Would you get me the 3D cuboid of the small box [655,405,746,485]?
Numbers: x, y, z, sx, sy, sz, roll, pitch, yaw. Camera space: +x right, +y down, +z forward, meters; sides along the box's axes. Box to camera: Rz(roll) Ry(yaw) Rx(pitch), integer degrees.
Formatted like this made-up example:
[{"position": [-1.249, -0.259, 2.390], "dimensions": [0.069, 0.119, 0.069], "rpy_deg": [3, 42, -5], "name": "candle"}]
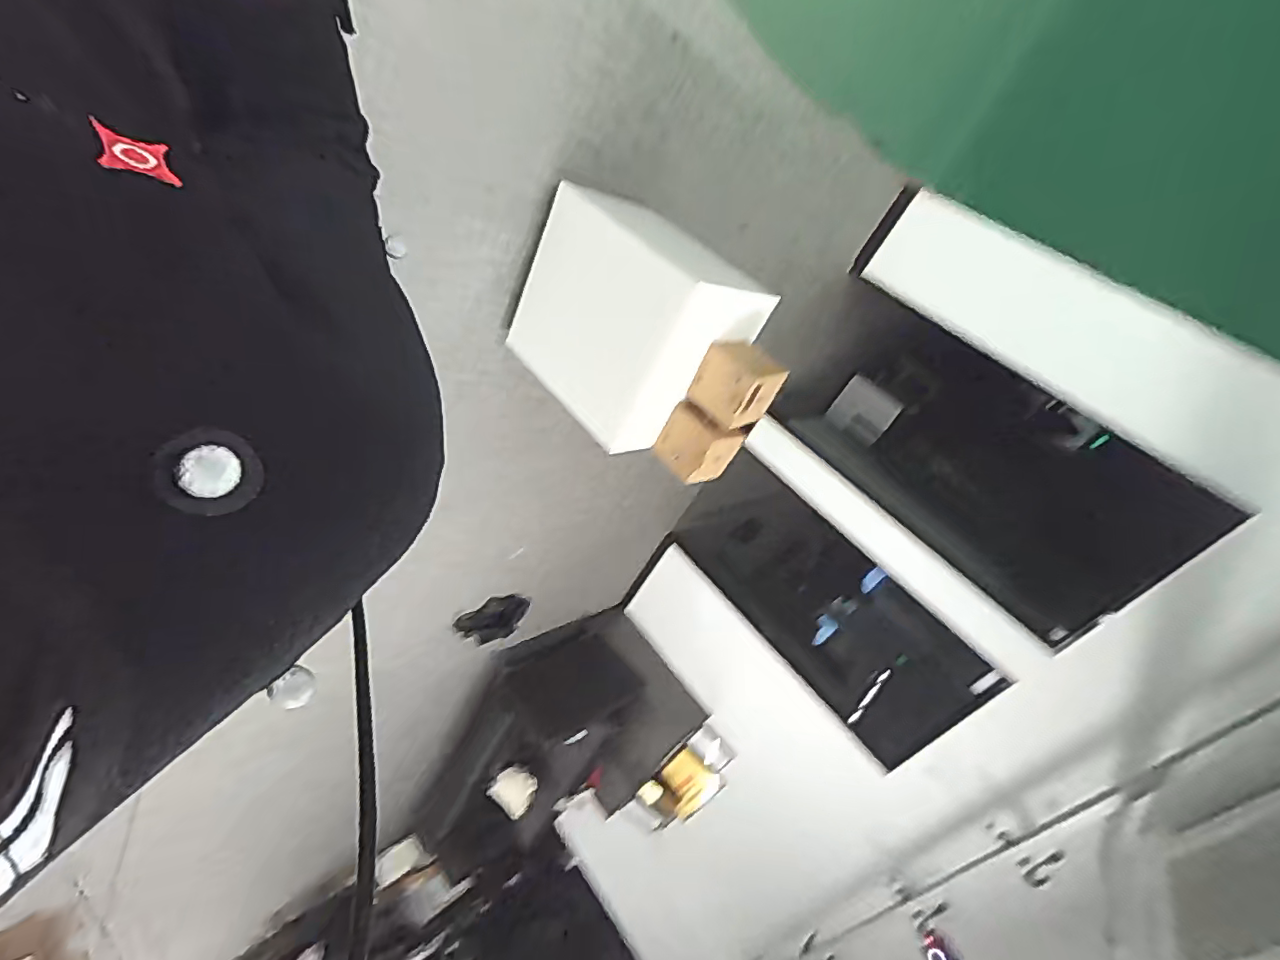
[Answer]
[{"position": [0.175, -0.110, 1.611], "dimensions": [0.179, 0.176, 0.168], "rpy_deg": [-12, 141, -49], "name": "small box"}]
